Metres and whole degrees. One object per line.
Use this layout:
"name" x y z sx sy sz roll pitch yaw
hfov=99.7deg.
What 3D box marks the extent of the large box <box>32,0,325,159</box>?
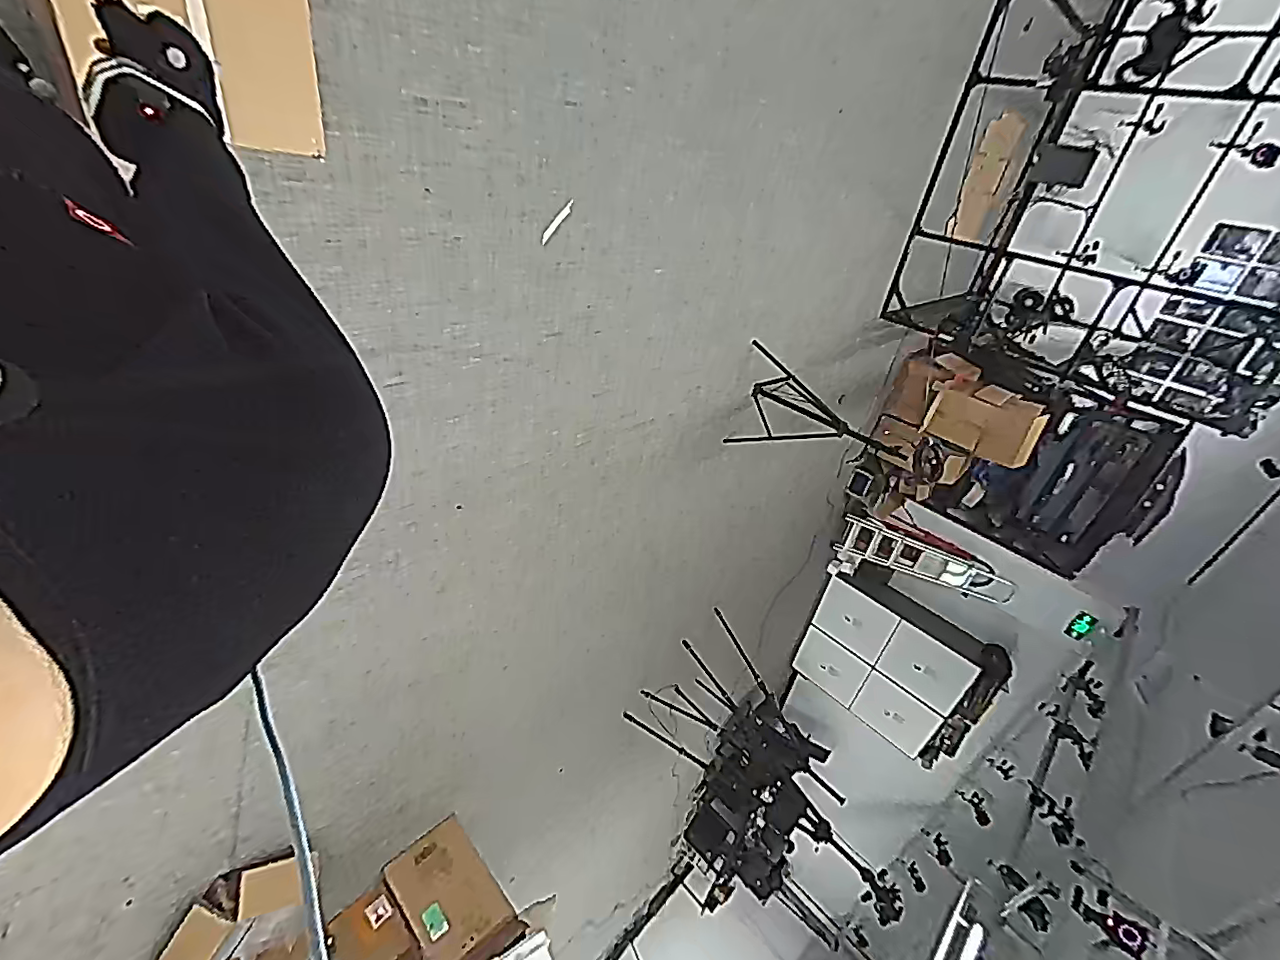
"large box" -0.754 -0.781 0.862 0.320 0.320 0.408 -21 135 -42
